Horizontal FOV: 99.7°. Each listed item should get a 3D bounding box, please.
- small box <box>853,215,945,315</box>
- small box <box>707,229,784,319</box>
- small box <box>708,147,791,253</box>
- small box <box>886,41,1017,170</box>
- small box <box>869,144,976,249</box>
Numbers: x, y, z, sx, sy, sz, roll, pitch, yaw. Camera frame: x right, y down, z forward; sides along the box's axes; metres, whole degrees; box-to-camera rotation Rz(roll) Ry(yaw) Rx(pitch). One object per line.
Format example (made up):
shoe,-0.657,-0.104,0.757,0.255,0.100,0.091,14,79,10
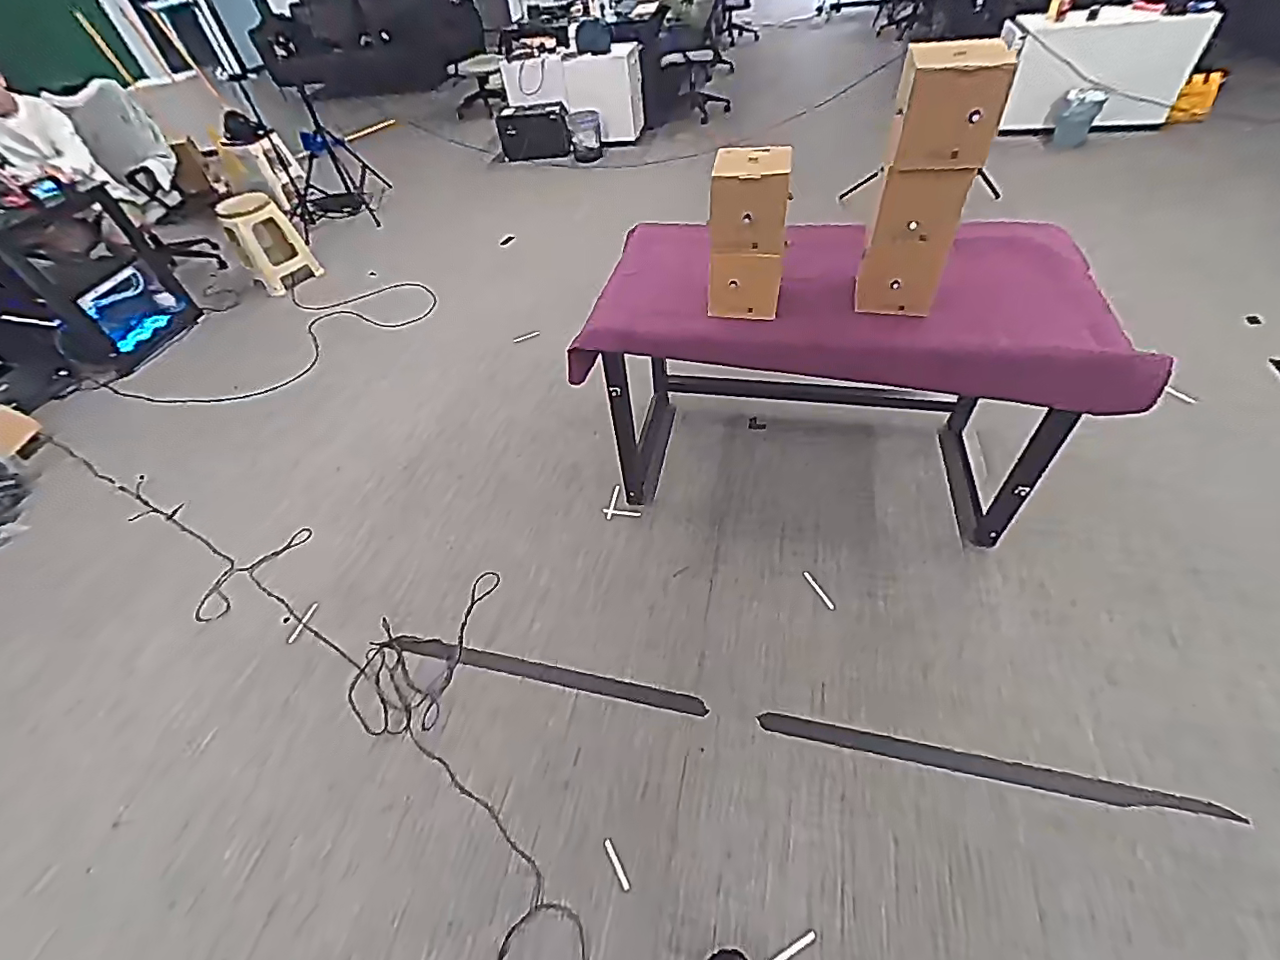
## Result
small box,0.615,-0.515,1.298,0.168,0.176,0.179,9,50,14
small box,0.262,-0.518,1.345,0.168,0.176,0.179,7,49,13
small box,0.247,-0.632,1.228,0.168,0.176,0.179,6,49,11
small box,0.585,-0.716,1.042,0.168,0.176,0.179,6,49,12
small box,0.603,-0.626,1.177,0.168,0.176,0.179,8,51,14
